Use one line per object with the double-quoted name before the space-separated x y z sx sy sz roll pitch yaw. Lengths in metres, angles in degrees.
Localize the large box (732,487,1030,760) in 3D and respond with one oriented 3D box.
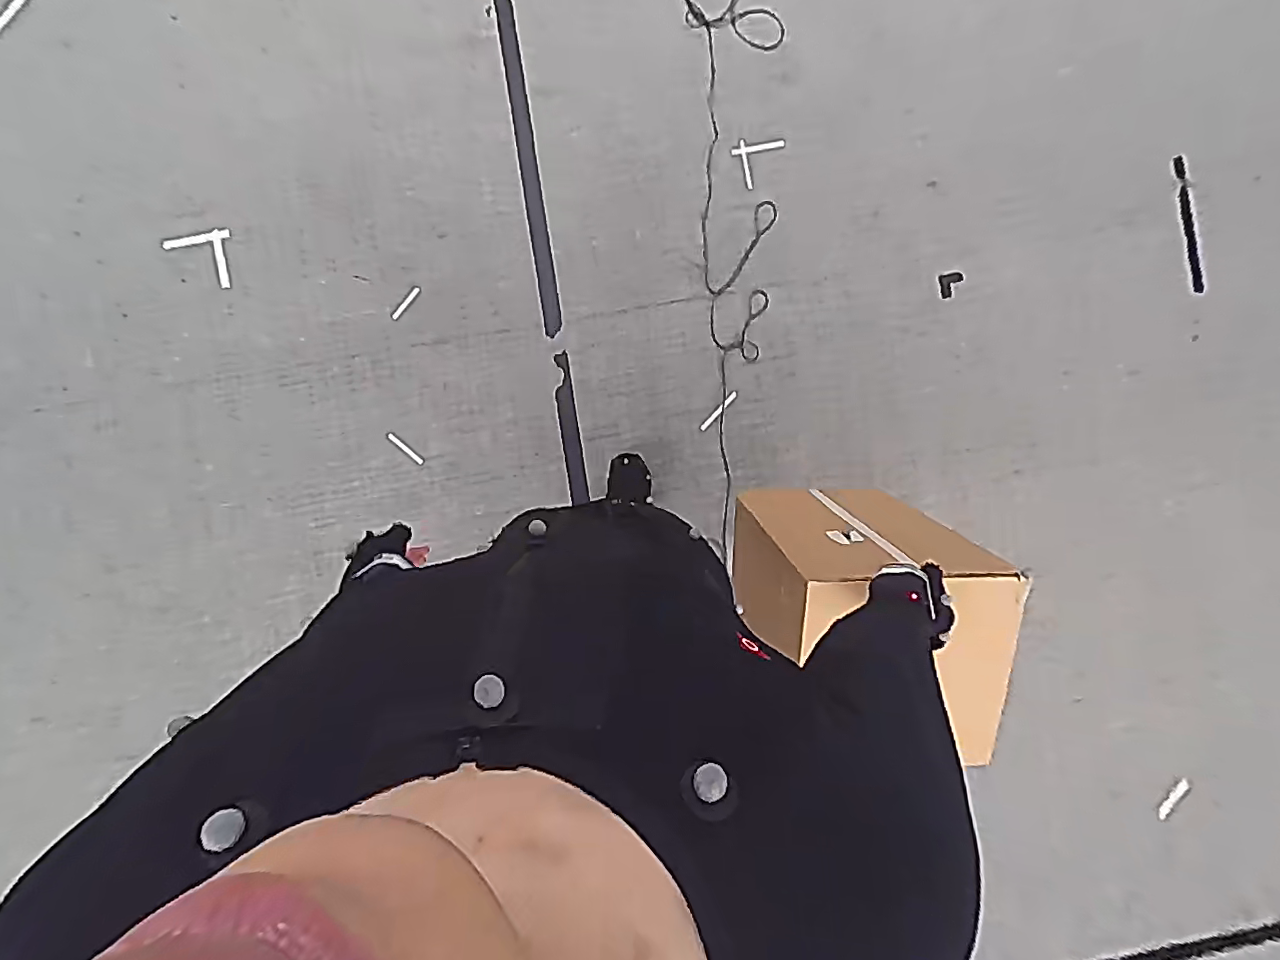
"large box" 0.369 0.219 0.964 0.320 0.408 0.320 -1 107 -4
